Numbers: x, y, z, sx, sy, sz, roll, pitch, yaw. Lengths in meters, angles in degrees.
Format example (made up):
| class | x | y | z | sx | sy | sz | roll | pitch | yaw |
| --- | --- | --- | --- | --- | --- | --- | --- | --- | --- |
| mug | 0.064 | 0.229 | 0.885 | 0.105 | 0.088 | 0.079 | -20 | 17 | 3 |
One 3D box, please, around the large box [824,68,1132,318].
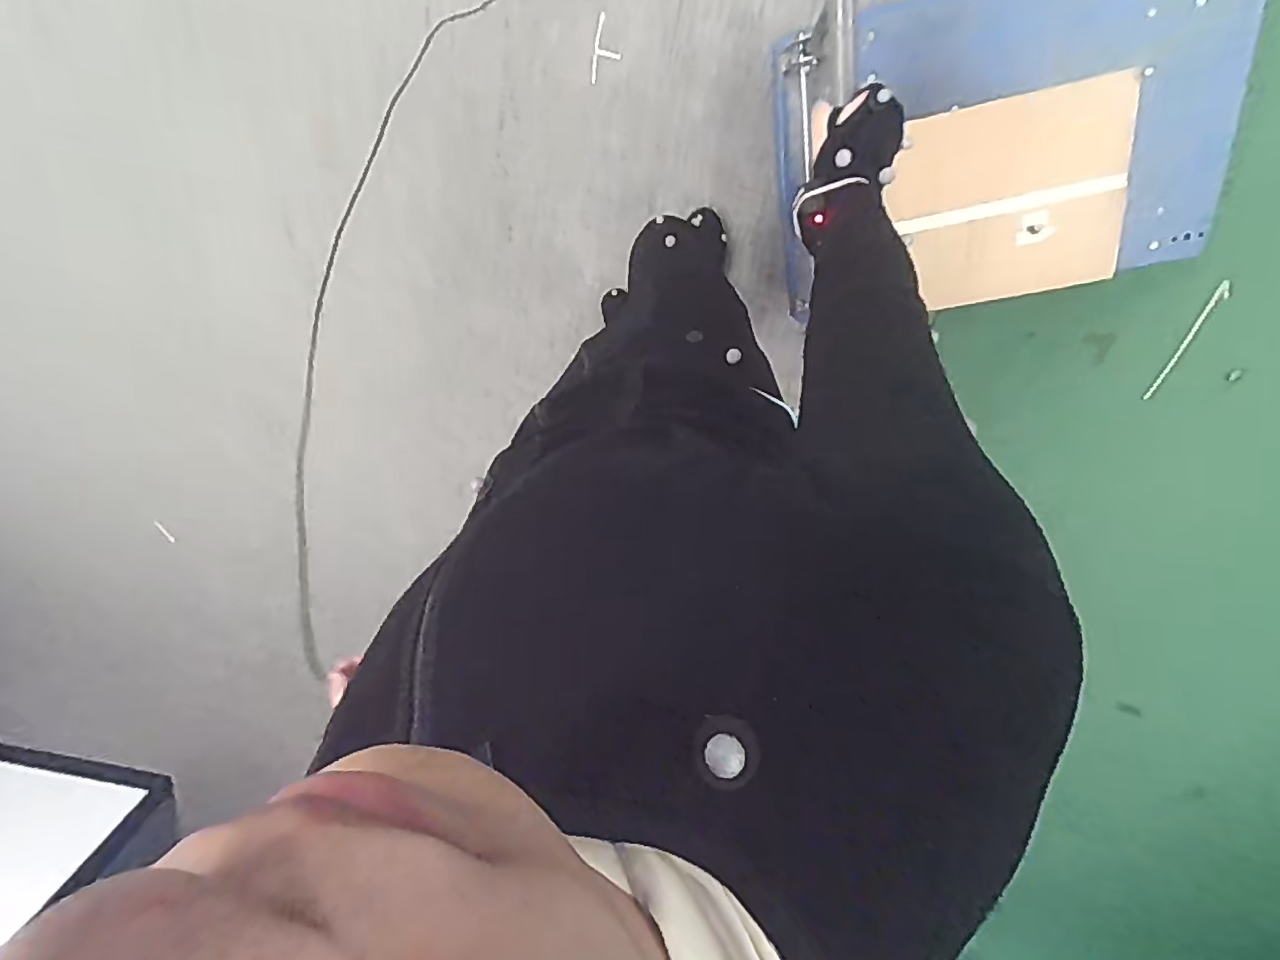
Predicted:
| class | x | y | z | sx | sy | sz | roll | pitch | yaw |
| --- | --- | --- | --- | --- | --- | --- | --- | --- | --- |
| large box | 0.602 | -0.529 | 1.052 | 0.408 | 0.320 | 0.320 | -8 | 115 | 9 |
